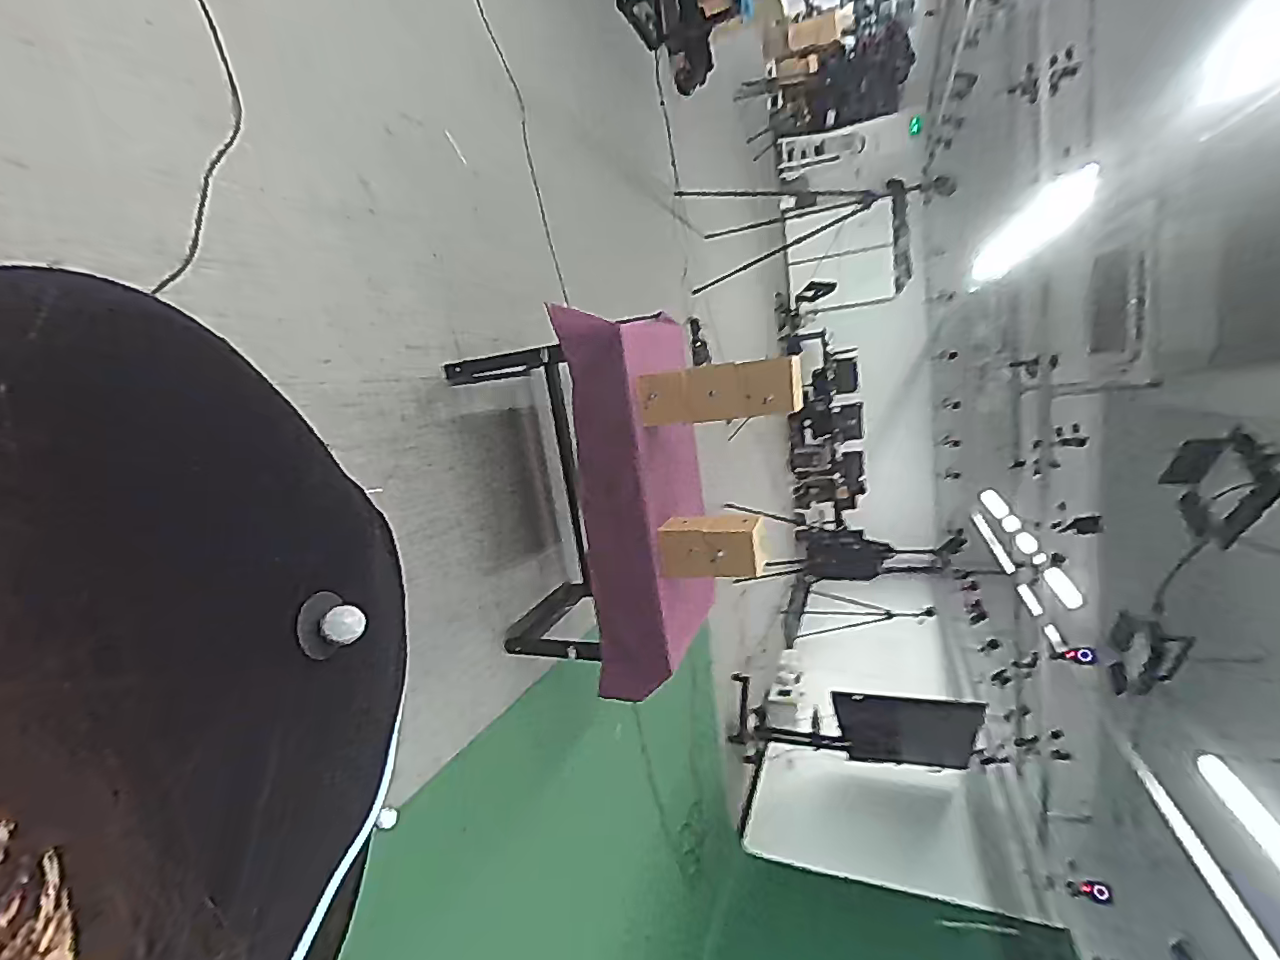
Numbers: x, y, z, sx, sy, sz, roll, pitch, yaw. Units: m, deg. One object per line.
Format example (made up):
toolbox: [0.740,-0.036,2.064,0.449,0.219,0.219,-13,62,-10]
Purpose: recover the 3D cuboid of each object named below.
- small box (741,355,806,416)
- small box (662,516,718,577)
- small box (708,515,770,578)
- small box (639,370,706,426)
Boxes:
small box: [0.411,-0.292,1.675,0.179,0.176,0.168,-27,112,-64]
small box: [0.183,0.233,1.893,0.168,0.176,0.179,-28,112,-63]
small box: [0.336,0.221,1.834,0.179,0.176,0.168,-34,117,-62]
small box: [0.110,-0.276,1.804,0.179,0.176,0.168,-29,113,-63]
